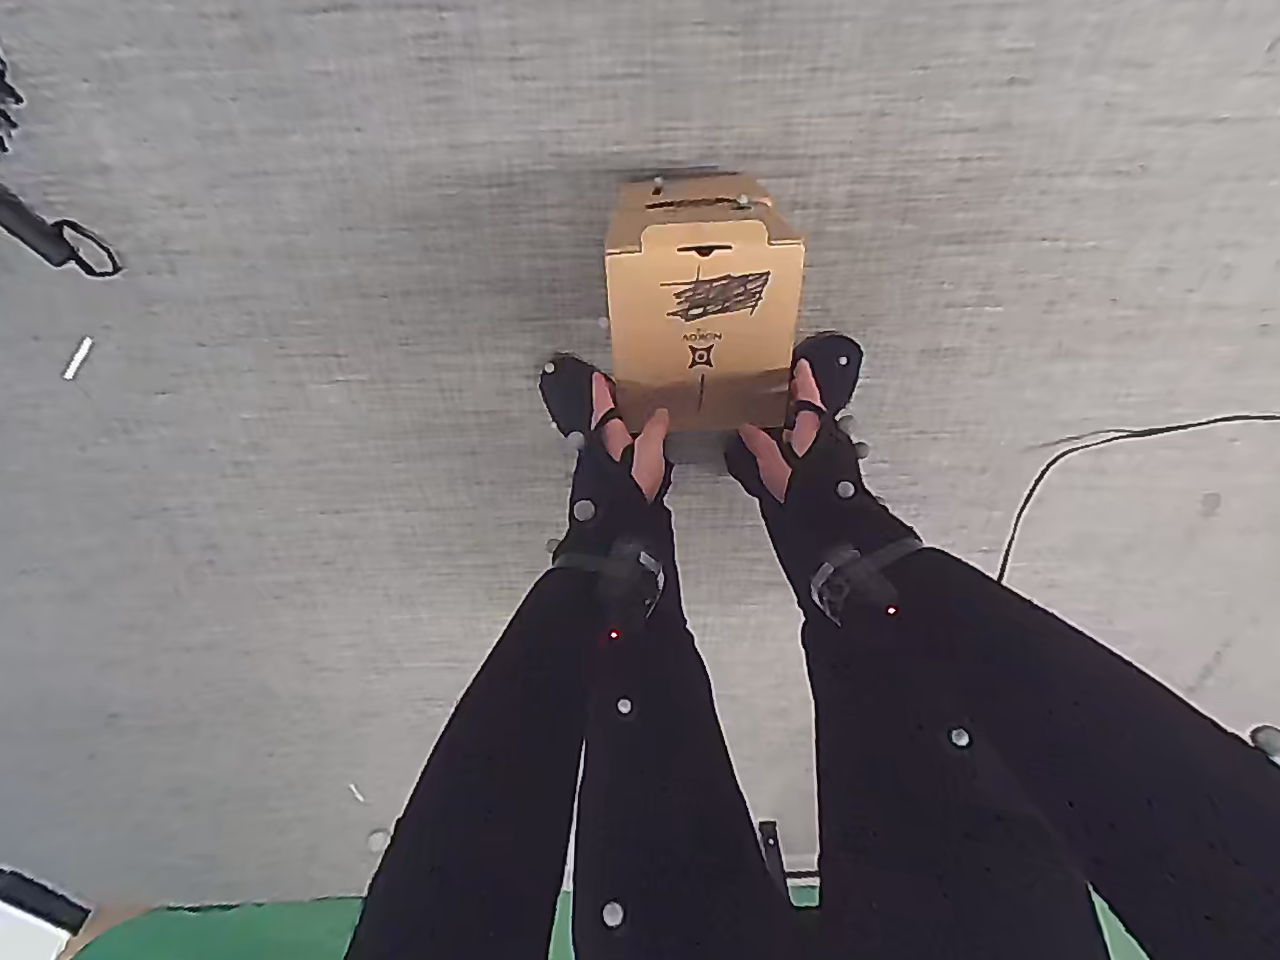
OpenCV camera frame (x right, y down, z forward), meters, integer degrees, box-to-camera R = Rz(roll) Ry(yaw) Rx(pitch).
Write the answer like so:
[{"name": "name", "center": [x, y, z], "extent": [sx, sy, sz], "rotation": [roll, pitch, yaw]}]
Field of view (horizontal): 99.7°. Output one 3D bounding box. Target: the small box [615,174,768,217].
[{"name": "small box", "center": [0.056, -0.276, 0.680], "extent": [0.168, 0.176, 0.179], "rotation": [-2, 128, 2]}]

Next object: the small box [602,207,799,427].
[{"name": "small box", "center": [0.050, -0.172, 0.552], "extent": [0.168, 0.176, 0.179], "rotation": [-1, 128, 1]}]
